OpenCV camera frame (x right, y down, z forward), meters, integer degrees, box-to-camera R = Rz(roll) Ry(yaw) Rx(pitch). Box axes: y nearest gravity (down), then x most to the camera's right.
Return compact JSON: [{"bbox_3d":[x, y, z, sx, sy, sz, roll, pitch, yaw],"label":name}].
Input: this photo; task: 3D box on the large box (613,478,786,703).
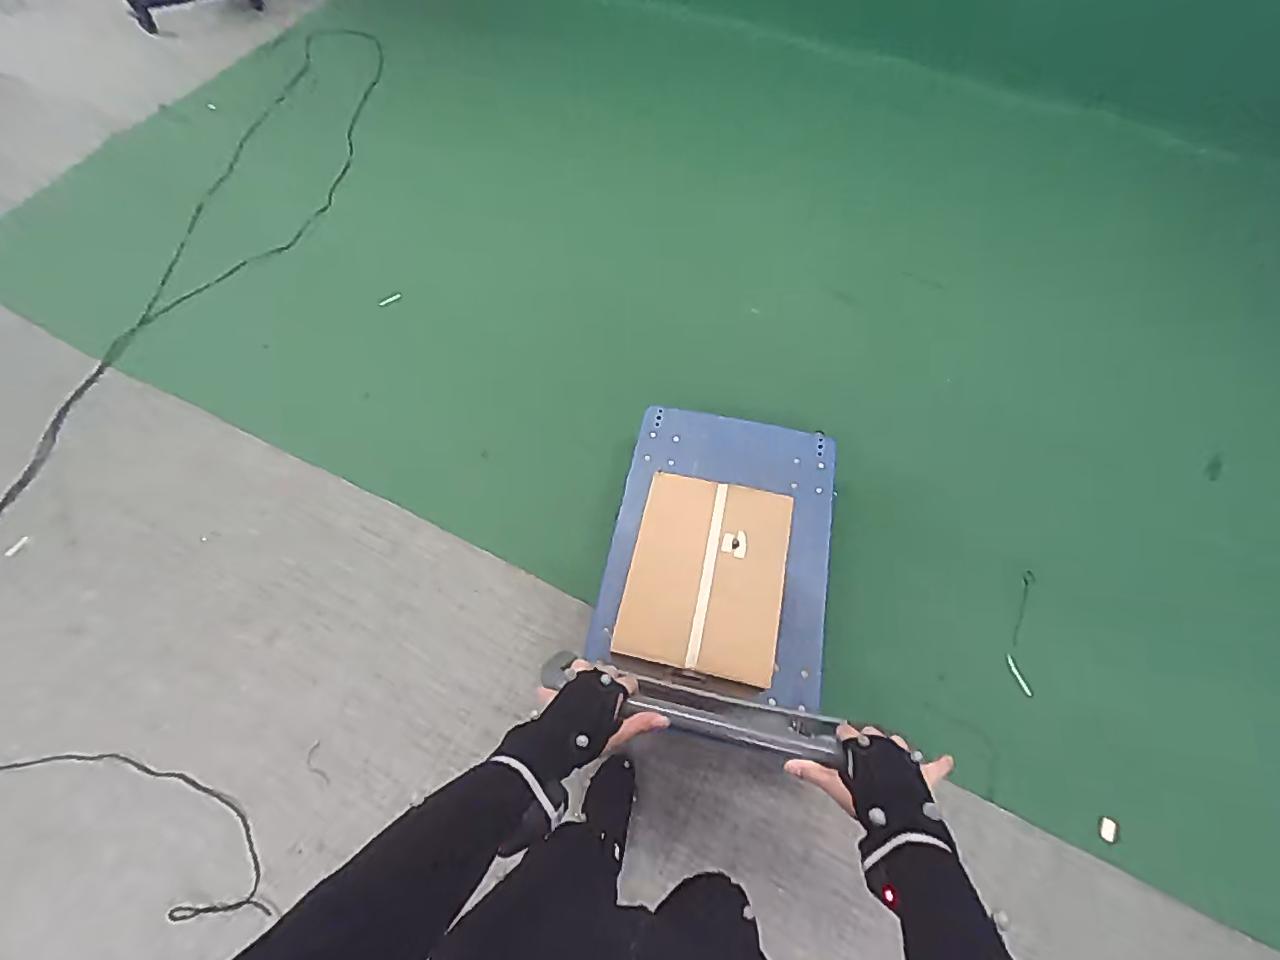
[{"bbox_3d":[0.137,0.262,1.246,0.320,0.320,0.408,11,63,6],"label":"large box"}]
